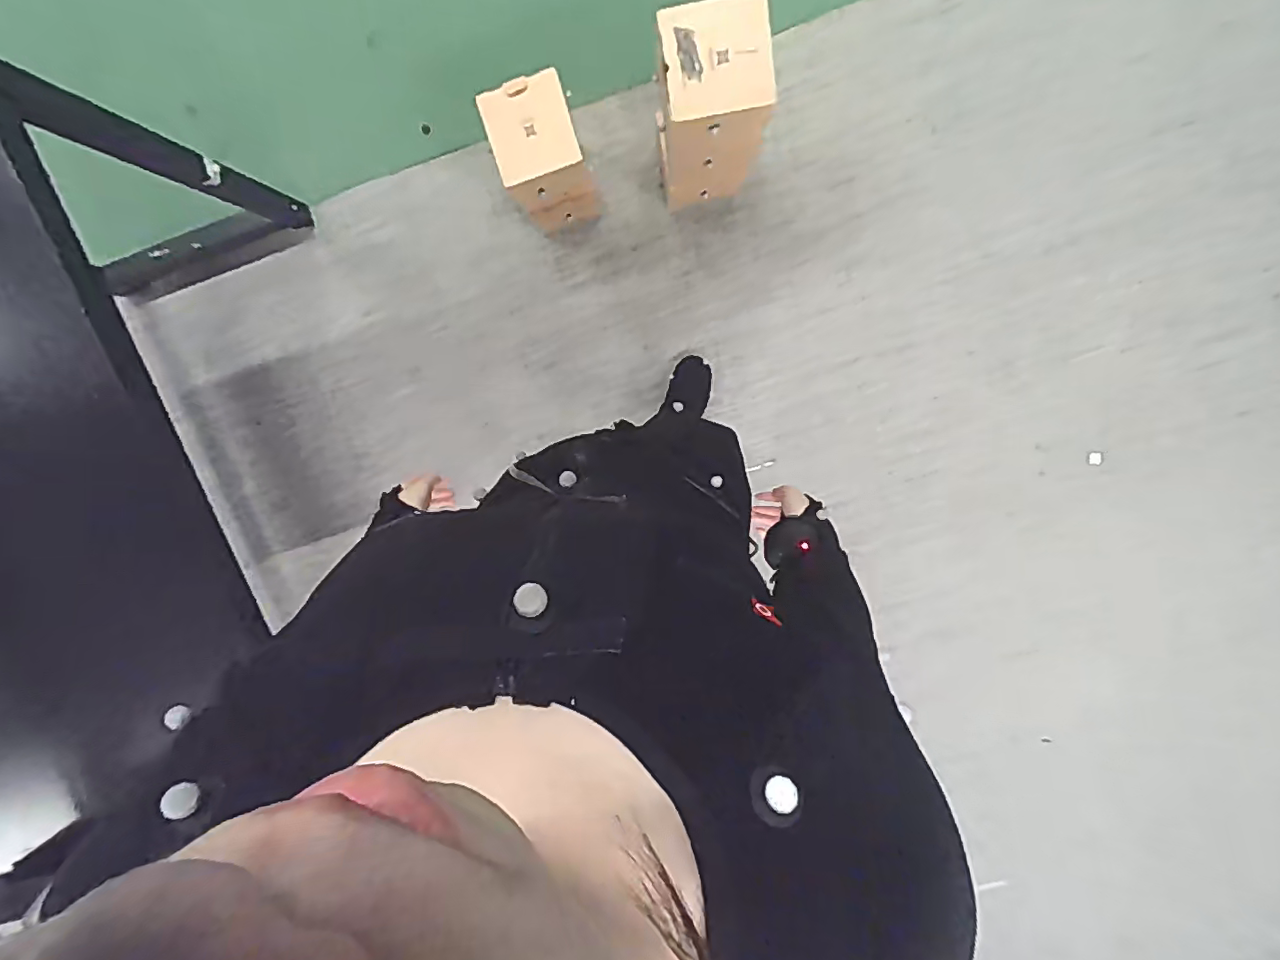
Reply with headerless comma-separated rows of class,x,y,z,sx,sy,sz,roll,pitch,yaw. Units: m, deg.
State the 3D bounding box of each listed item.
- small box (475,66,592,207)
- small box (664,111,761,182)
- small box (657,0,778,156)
small box,-0.208,-0.686,1.109,0.168,0.176,0.179,-17,99,6
small box,0.138,-0.720,1.088,0.179,0.176,0.168,-6,102,3
small box,0.127,-0.685,0.928,0.179,0.176,0.168,-8,101,3
